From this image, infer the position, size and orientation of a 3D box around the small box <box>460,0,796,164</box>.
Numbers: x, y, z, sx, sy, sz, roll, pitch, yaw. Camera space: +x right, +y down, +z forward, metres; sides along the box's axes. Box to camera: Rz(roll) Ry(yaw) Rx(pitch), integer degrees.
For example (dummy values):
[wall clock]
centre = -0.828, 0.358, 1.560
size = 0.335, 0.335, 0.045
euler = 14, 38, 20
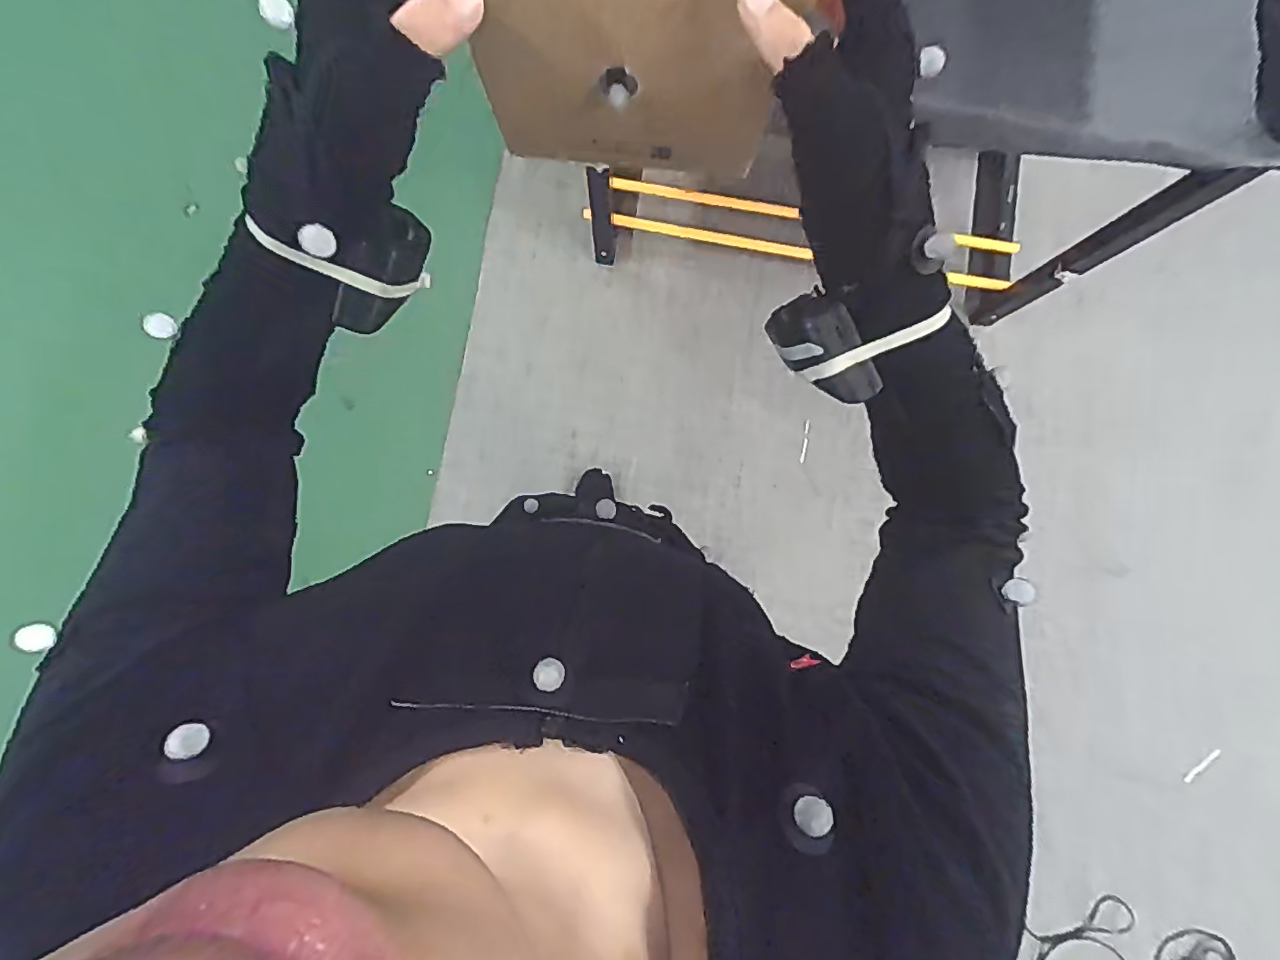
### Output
[small box]
centre = 0.000, -0.304, 0.290
size = 0.168, 0.176, 0.179
euler = 5, 89, -2
